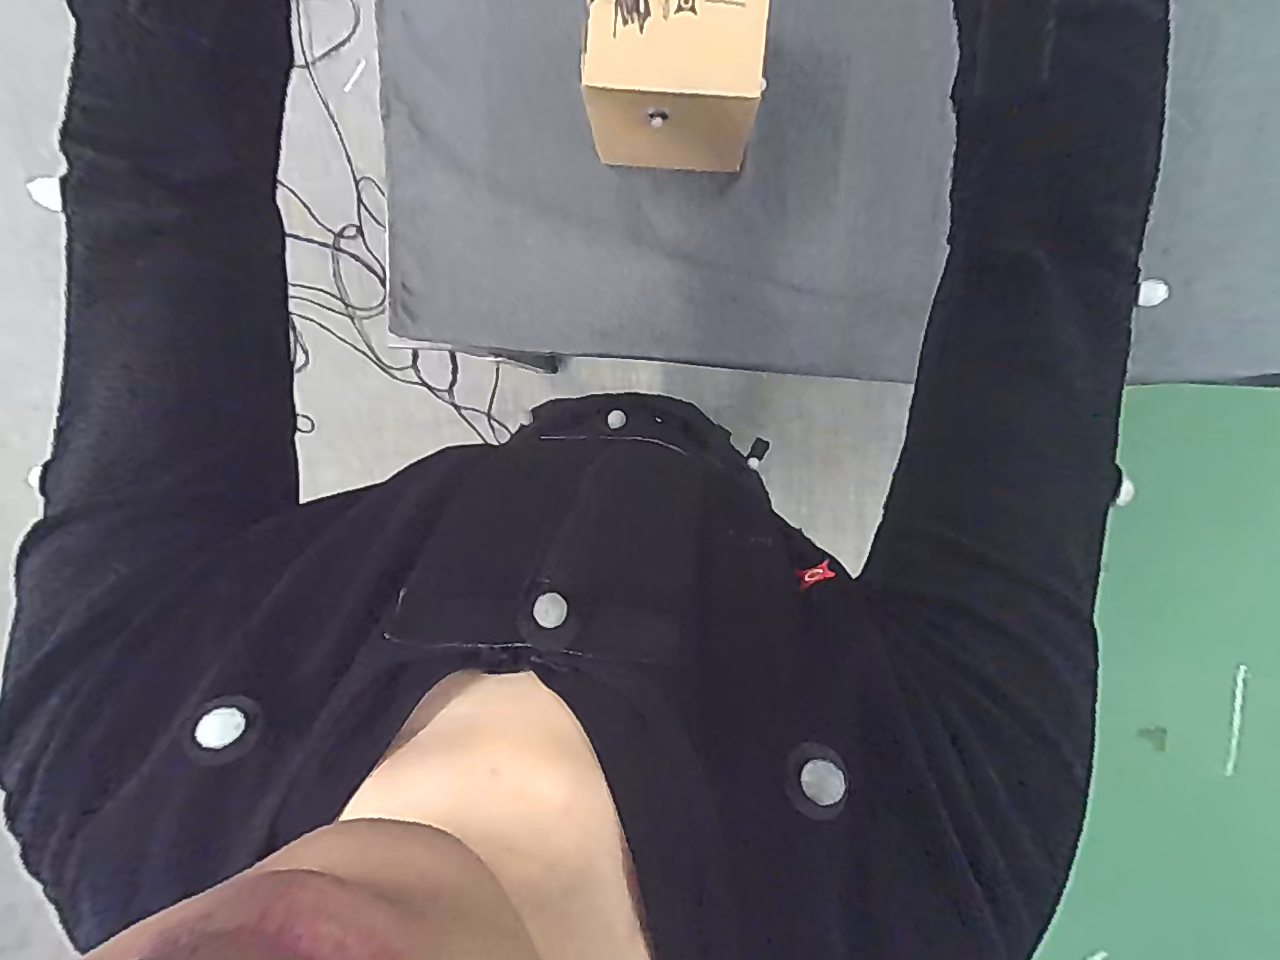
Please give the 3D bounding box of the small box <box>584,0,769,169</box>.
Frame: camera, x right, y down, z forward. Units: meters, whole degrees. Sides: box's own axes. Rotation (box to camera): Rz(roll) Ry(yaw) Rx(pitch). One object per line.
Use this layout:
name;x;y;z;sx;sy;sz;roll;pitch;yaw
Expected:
small box;0.041;-0.472;0.602;0.179;0.176;0.168;5;97;1
